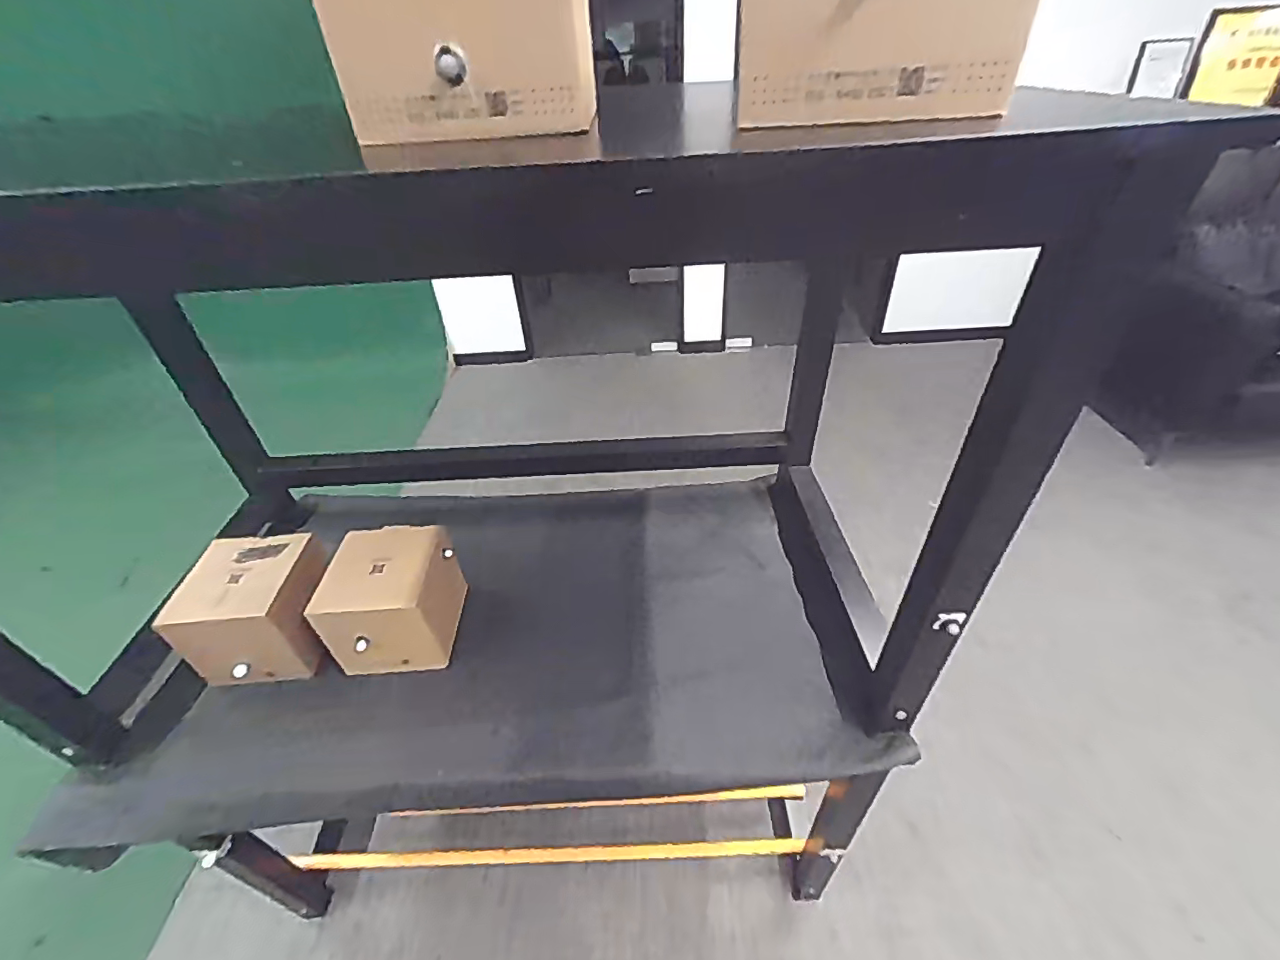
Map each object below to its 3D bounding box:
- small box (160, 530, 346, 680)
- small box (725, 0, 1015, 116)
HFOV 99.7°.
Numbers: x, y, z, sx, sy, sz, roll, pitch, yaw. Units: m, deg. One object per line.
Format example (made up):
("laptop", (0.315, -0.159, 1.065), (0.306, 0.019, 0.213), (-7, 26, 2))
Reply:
("small box", (-0.622, 0.207, 0.902), (0.168, 0.176, 0.179), (-5, 39, -1))
("small box", (0.145, -0.349, 0.358), (0.168, 0.176, 0.179), (3, 39, 9))
